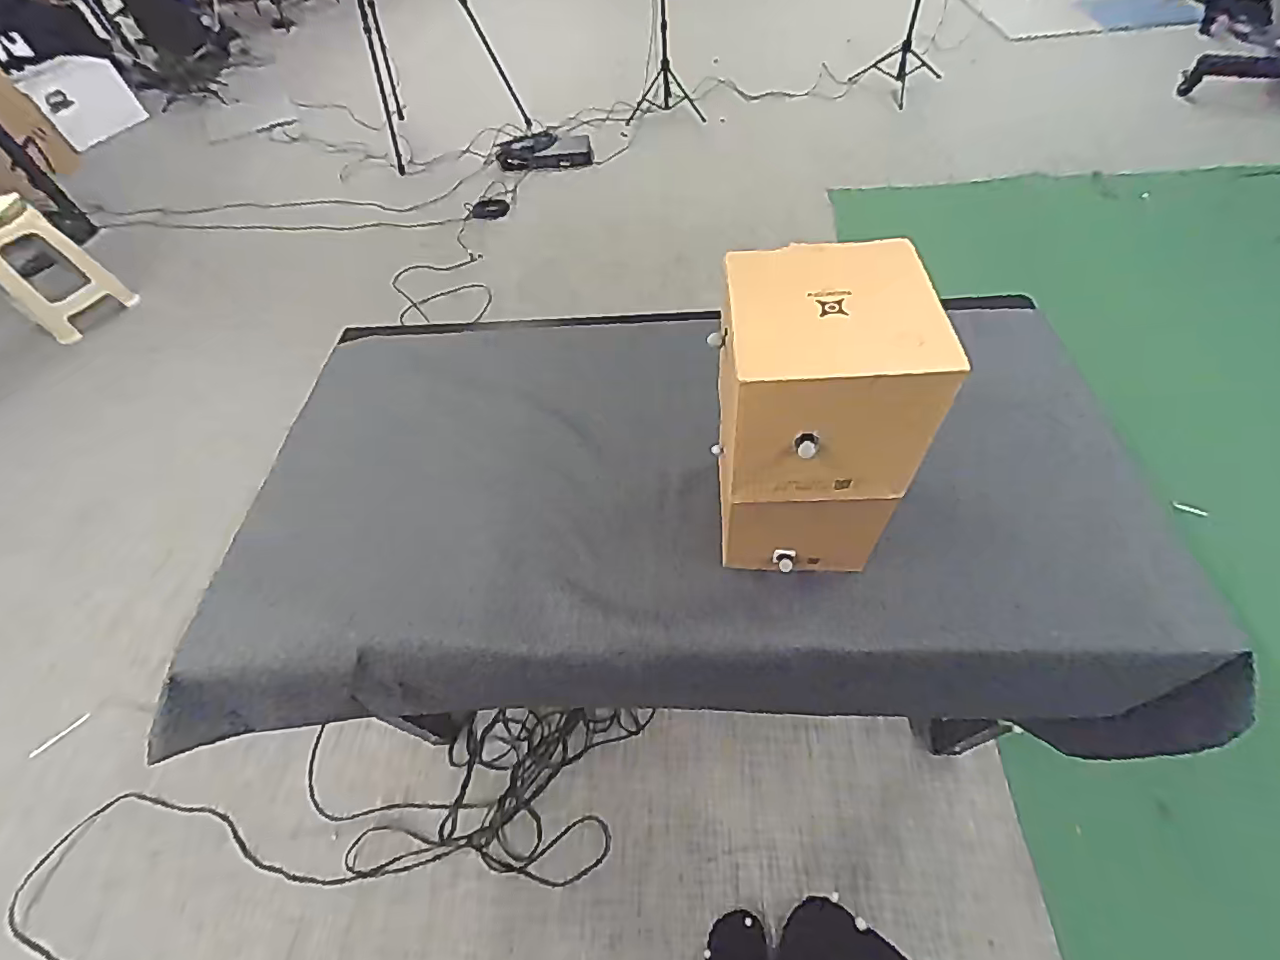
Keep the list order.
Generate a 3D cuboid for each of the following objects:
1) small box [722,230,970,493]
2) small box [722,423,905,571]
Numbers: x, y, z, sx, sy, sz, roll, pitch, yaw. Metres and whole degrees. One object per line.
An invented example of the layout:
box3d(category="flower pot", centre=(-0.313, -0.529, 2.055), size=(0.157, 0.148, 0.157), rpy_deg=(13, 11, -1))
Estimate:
box3d(category="small box", centre=(0.163, -0.098, 0.497), size=(0.168, 0.176, 0.179), rpy_deg=(-2, 53, 6))
box3d(category="small box", centre=(0.183, -0.010, 0.633), size=(0.168, 0.176, 0.179), rpy_deg=(-1, 55, 7))
